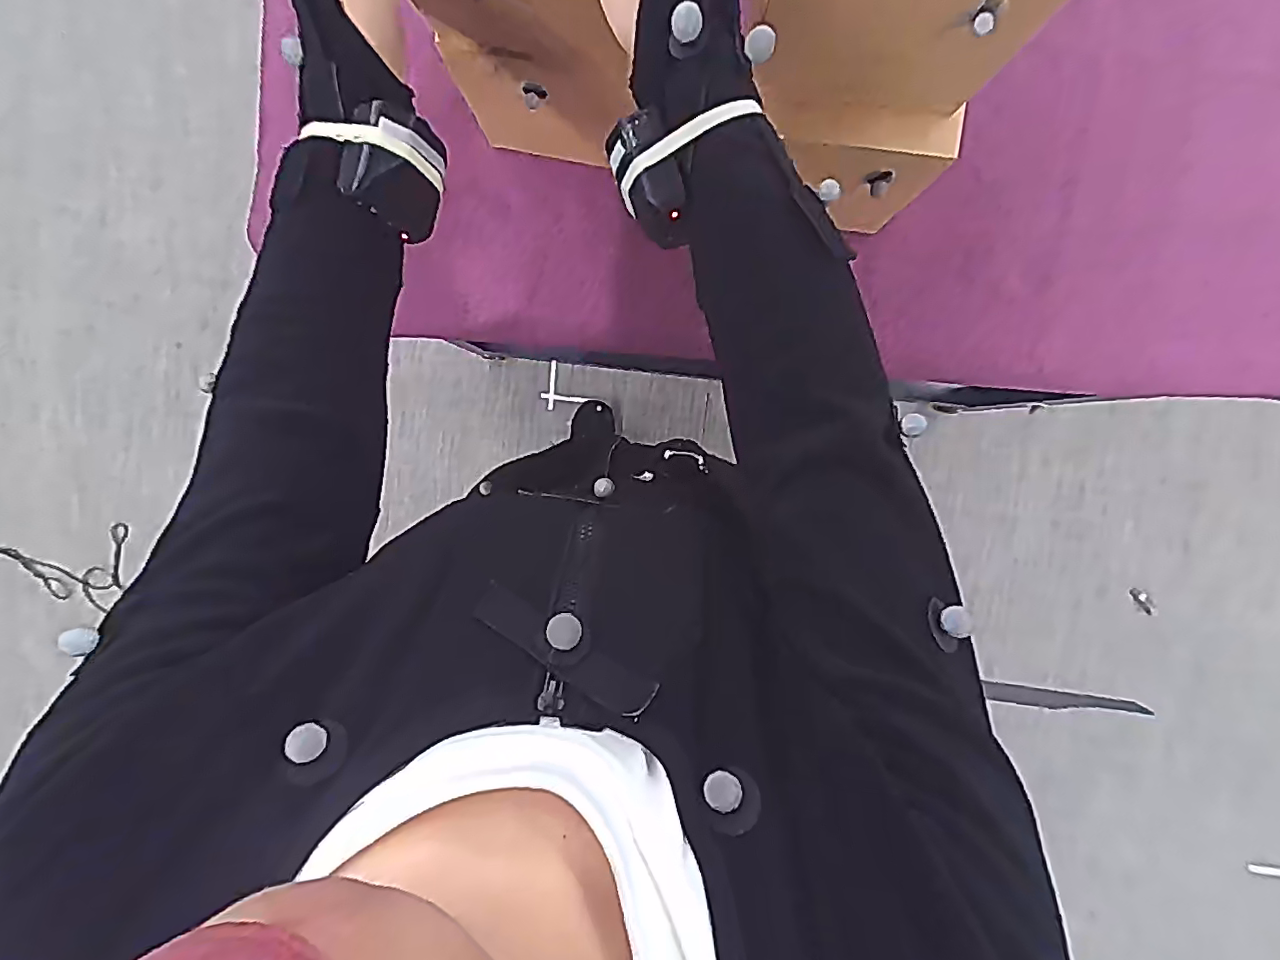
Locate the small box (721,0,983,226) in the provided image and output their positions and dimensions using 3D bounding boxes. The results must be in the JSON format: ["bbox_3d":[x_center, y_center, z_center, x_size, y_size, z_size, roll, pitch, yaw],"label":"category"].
[{"bbox_3d":[0.184,-0.361,0.513,0.179,0.176,0.168,7,94,0],"label":"small box"}]

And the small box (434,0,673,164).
[{"bbox_3d":[-0.067,-0.430,0.509,0.179,0.176,0.168,11,96,-1],"label":"small box"}]

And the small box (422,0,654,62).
[{"bbox_3d":[-0.067,-0.400,0.336,0.179,0.176,0.168,12,107,-1],"label":"small box"}]
